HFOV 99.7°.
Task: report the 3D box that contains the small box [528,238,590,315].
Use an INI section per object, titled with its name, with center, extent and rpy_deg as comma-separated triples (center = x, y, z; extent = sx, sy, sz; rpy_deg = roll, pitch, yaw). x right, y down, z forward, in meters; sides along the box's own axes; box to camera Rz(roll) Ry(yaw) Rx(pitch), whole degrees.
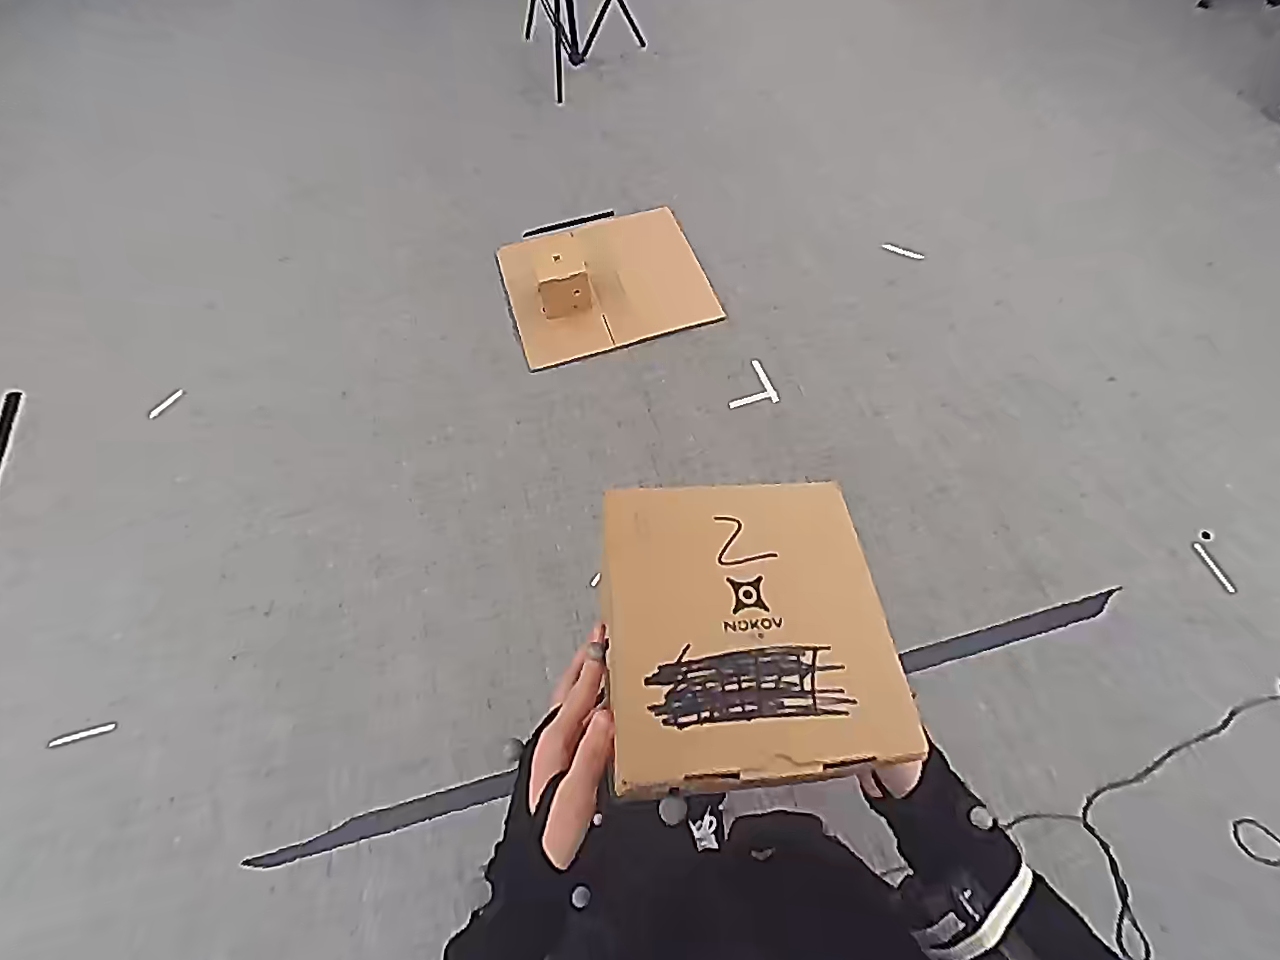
[small box]
center = -0.275, -0.690, 1.855
extent = 0.168, 0.176, 0.179
rpy_deg = -15, 64, -7
